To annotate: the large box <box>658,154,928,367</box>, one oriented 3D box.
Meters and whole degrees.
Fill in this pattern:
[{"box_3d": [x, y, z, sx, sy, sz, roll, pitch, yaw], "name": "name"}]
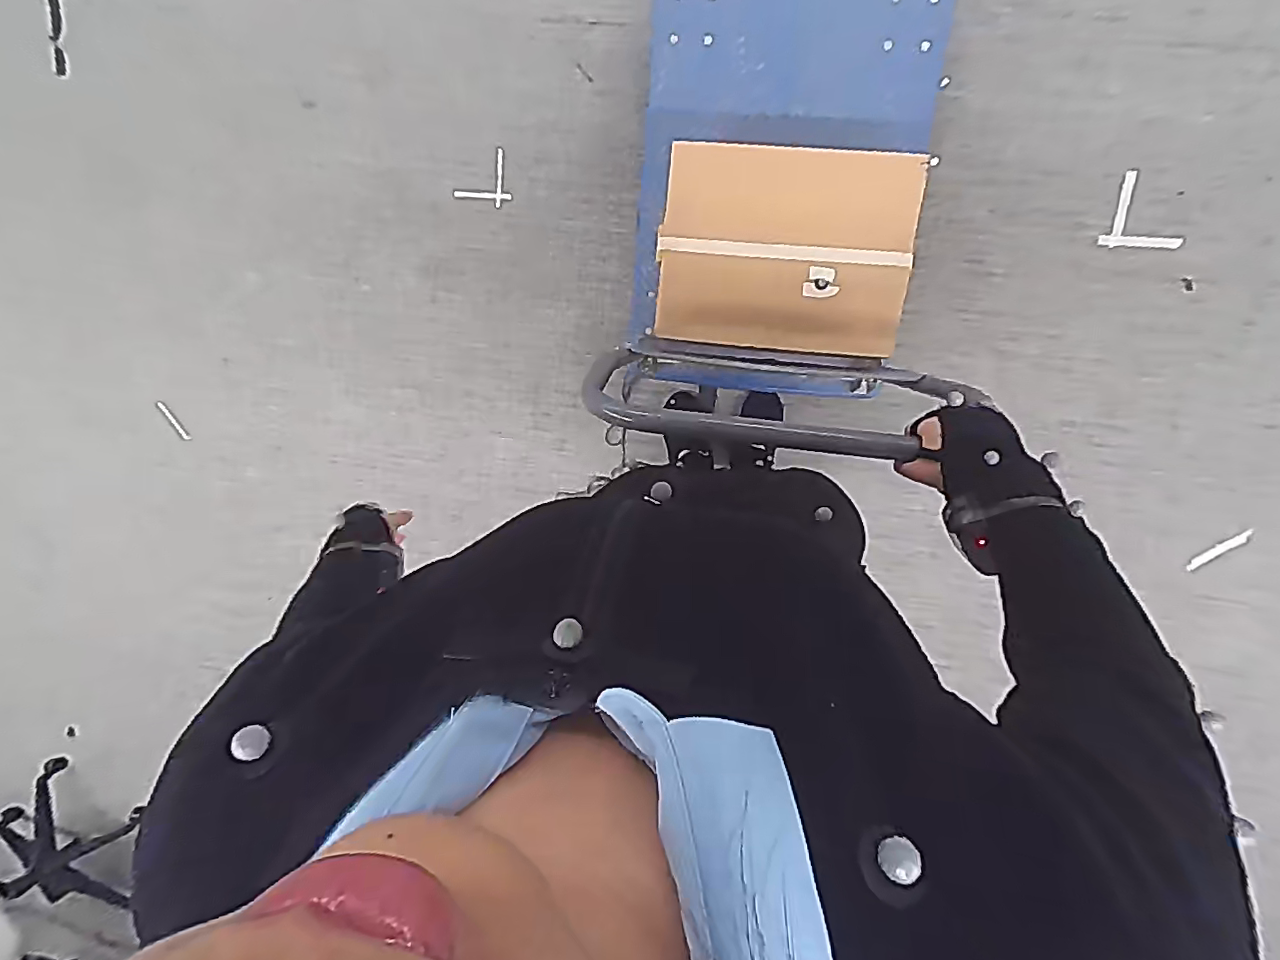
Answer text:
[{"box_3d": [0.253, -0.387, 1.027, 0.408, 0.320, 0.320, 7, 104, 5], "name": "large box"}]
